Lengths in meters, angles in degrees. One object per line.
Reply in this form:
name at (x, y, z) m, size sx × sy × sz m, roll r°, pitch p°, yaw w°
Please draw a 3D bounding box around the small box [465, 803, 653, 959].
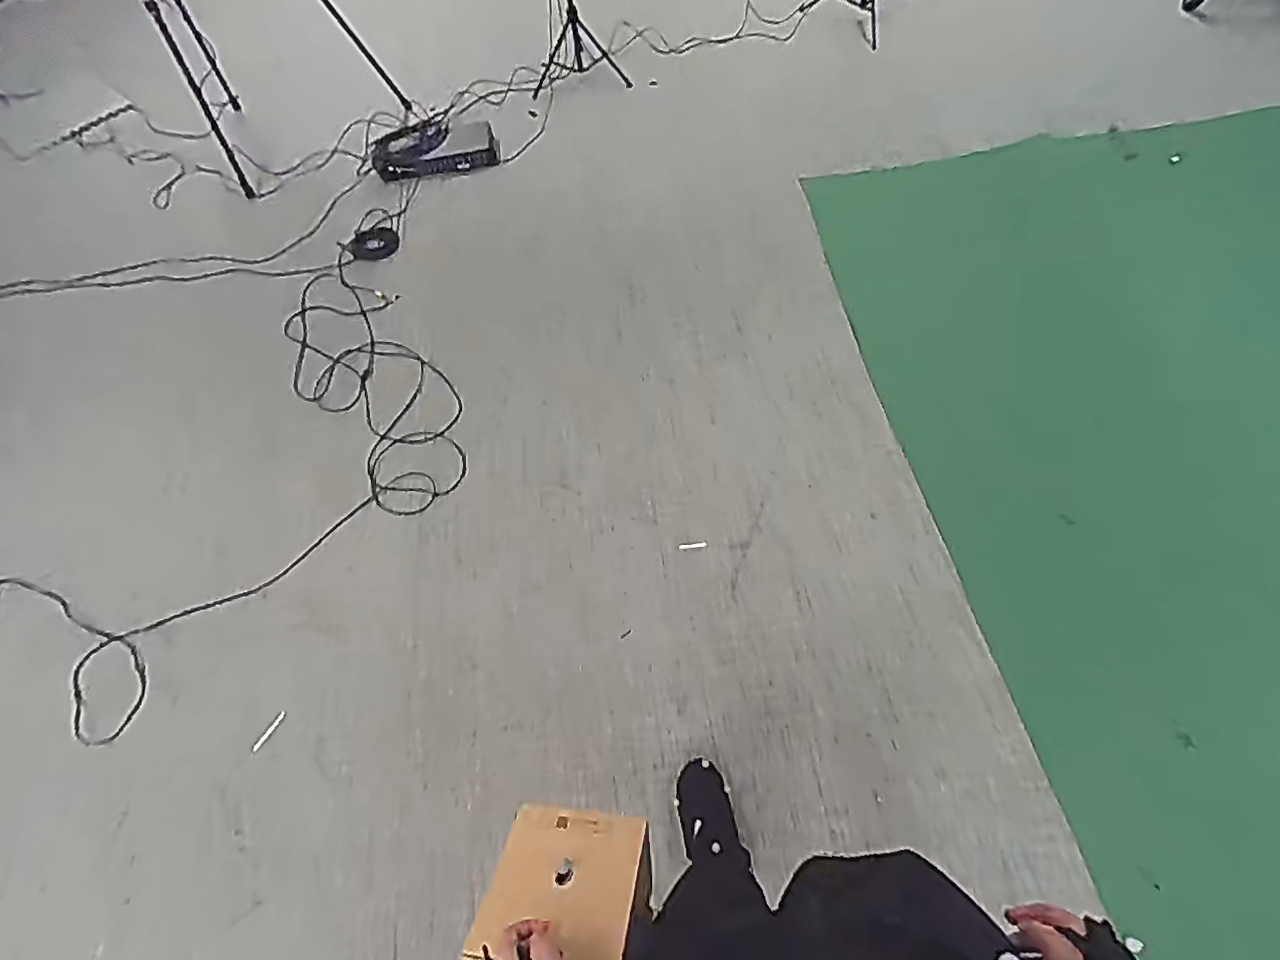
small box at (-0.081, 0.518, 0.638) m, size 0.168 × 0.179 × 0.176 m, roll 0°, pitch 24°, yaw 11°
